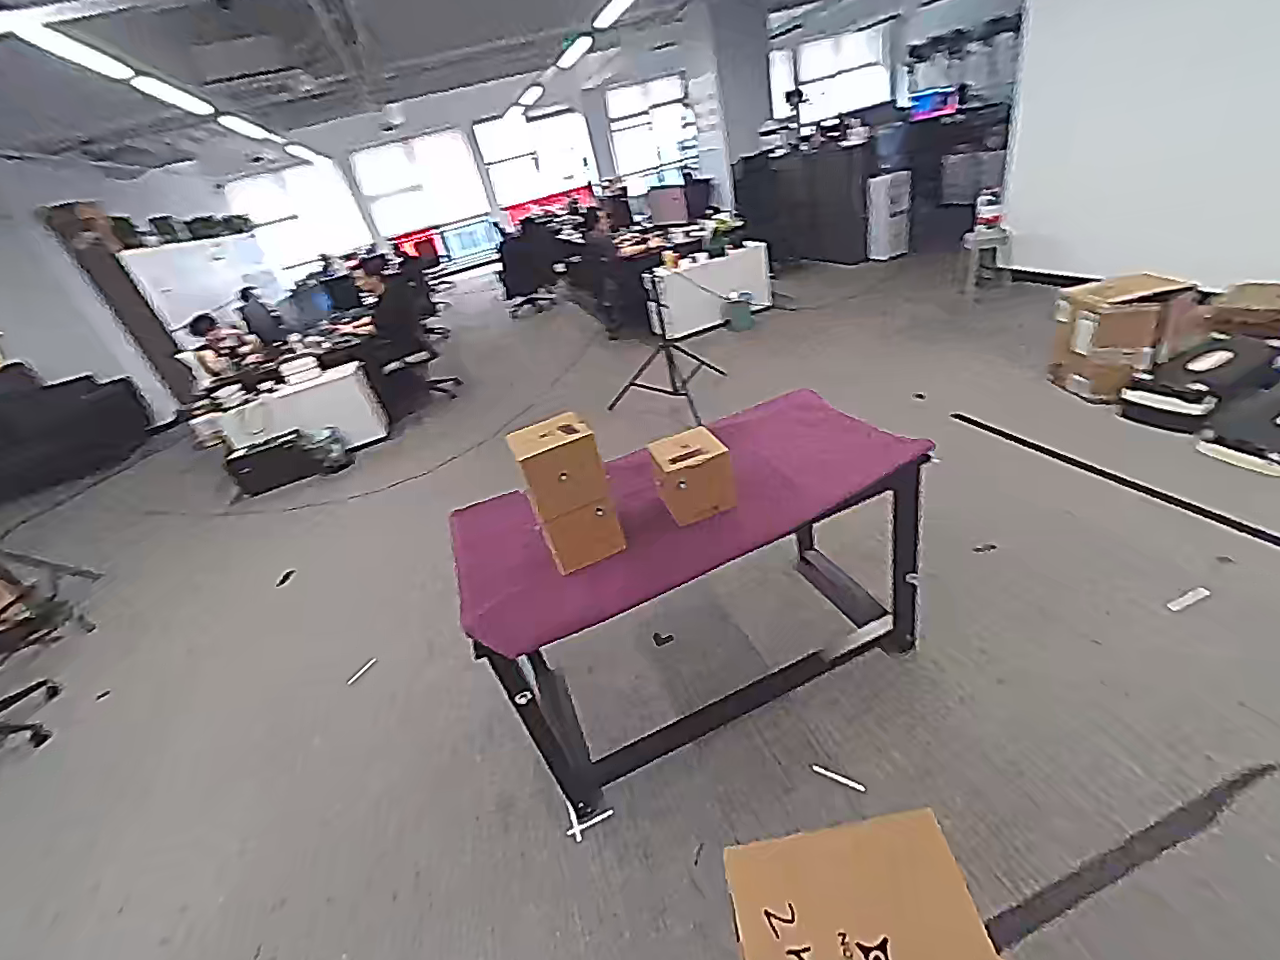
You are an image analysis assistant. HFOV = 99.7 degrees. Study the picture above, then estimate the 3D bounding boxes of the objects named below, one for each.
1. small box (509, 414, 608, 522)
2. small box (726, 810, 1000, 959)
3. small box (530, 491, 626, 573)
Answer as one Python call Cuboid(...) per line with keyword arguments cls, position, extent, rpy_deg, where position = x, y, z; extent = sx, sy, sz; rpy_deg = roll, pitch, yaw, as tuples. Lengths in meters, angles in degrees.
Cuboid(cls="small box", position=(-0.186, -0.030, 1.274), extent=(0.179, 0.176, 0.168), rpy_deg=(-23, 31, -13))
Cuboid(cls="small box", position=(0.180, 0.394, 0.438), extent=(0.179, 0.176, 0.168), rpy_deg=(-15, 42, 6))
Cuboid(cls="small box", position=(-0.154, 0.106, 1.360), extent=(0.179, 0.176, 0.168), rpy_deg=(-22, 31, -13))
